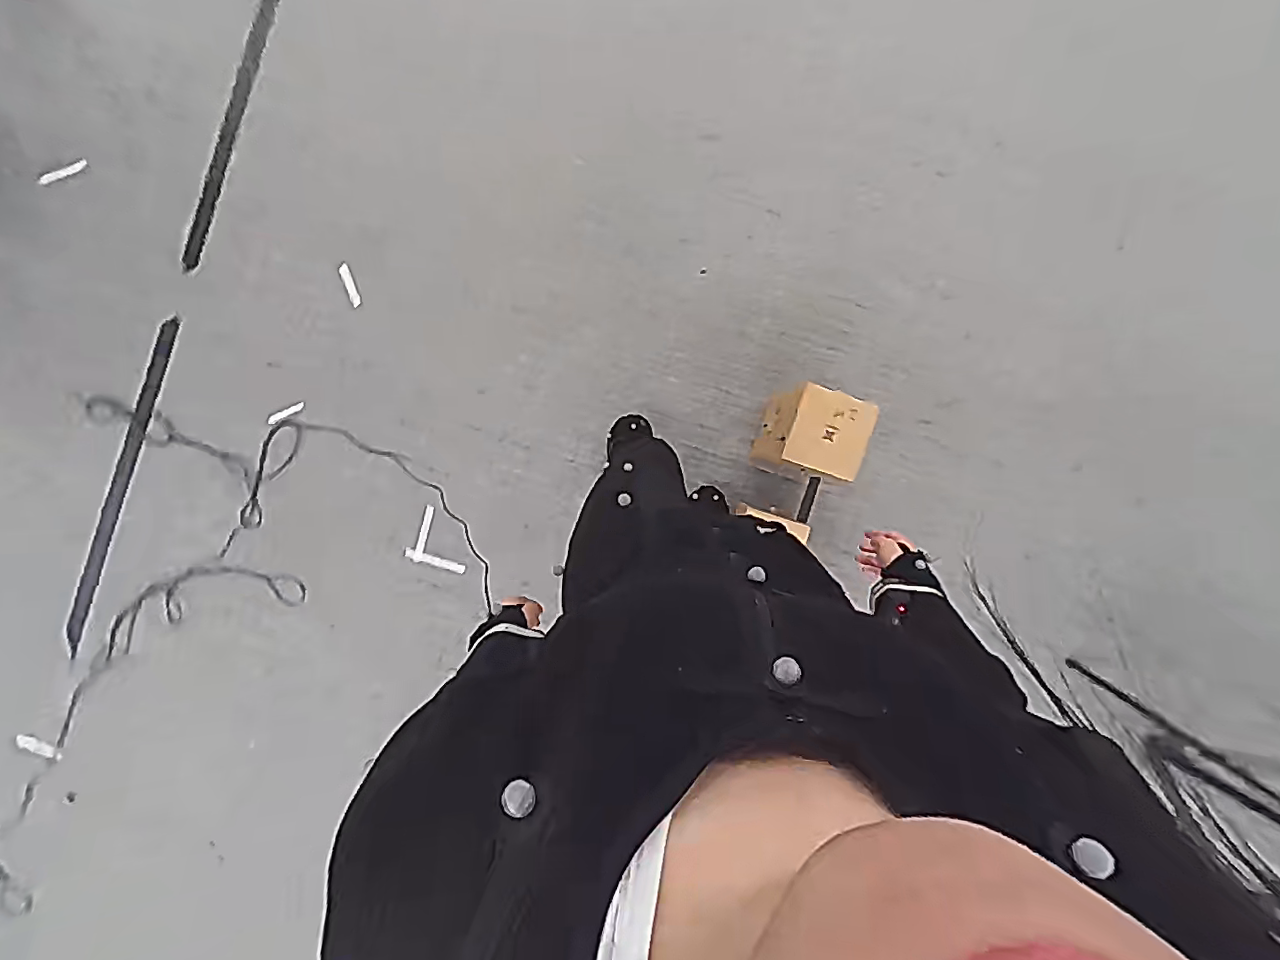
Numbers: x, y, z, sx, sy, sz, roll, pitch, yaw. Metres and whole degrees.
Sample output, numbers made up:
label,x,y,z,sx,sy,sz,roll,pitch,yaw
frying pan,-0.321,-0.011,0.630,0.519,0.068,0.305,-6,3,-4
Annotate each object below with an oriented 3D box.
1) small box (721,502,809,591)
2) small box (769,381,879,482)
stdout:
label,x,y,z,sx,sy,sz,roll,pitch,yaw
small box,0.316,0.166,1.413,0.168,0.176,0.179,19,92,1
small box,0.407,-0.106,1.233,0.168,0.176,0.179,20,92,0
